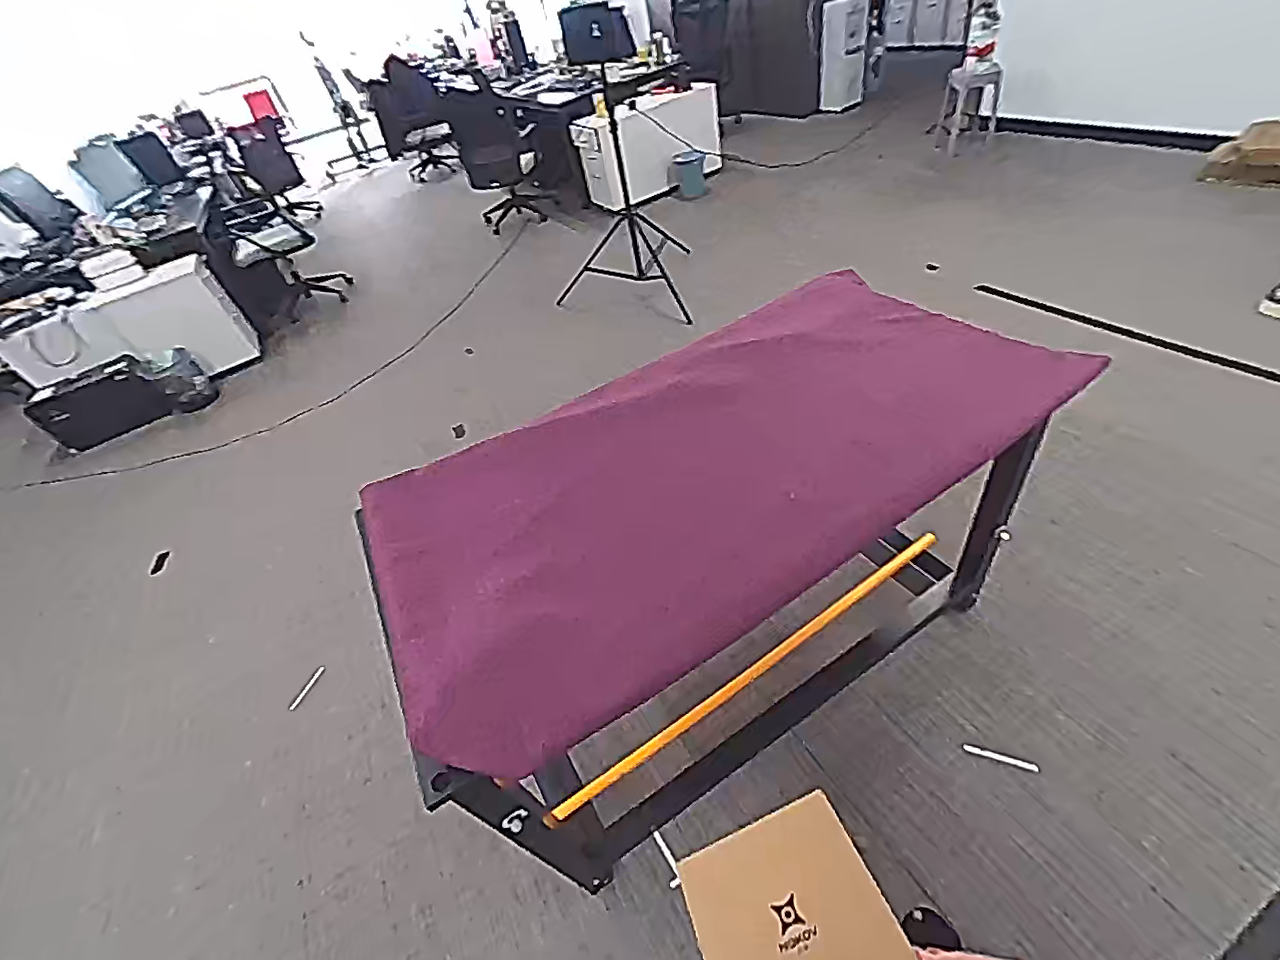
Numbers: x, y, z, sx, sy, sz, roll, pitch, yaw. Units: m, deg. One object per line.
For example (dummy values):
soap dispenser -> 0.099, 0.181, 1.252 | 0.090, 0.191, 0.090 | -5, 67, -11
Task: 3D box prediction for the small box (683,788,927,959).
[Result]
small box -> 0.160, 0.439, 0.504 | 0.168, 0.176, 0.179 | -25, 34, -2
